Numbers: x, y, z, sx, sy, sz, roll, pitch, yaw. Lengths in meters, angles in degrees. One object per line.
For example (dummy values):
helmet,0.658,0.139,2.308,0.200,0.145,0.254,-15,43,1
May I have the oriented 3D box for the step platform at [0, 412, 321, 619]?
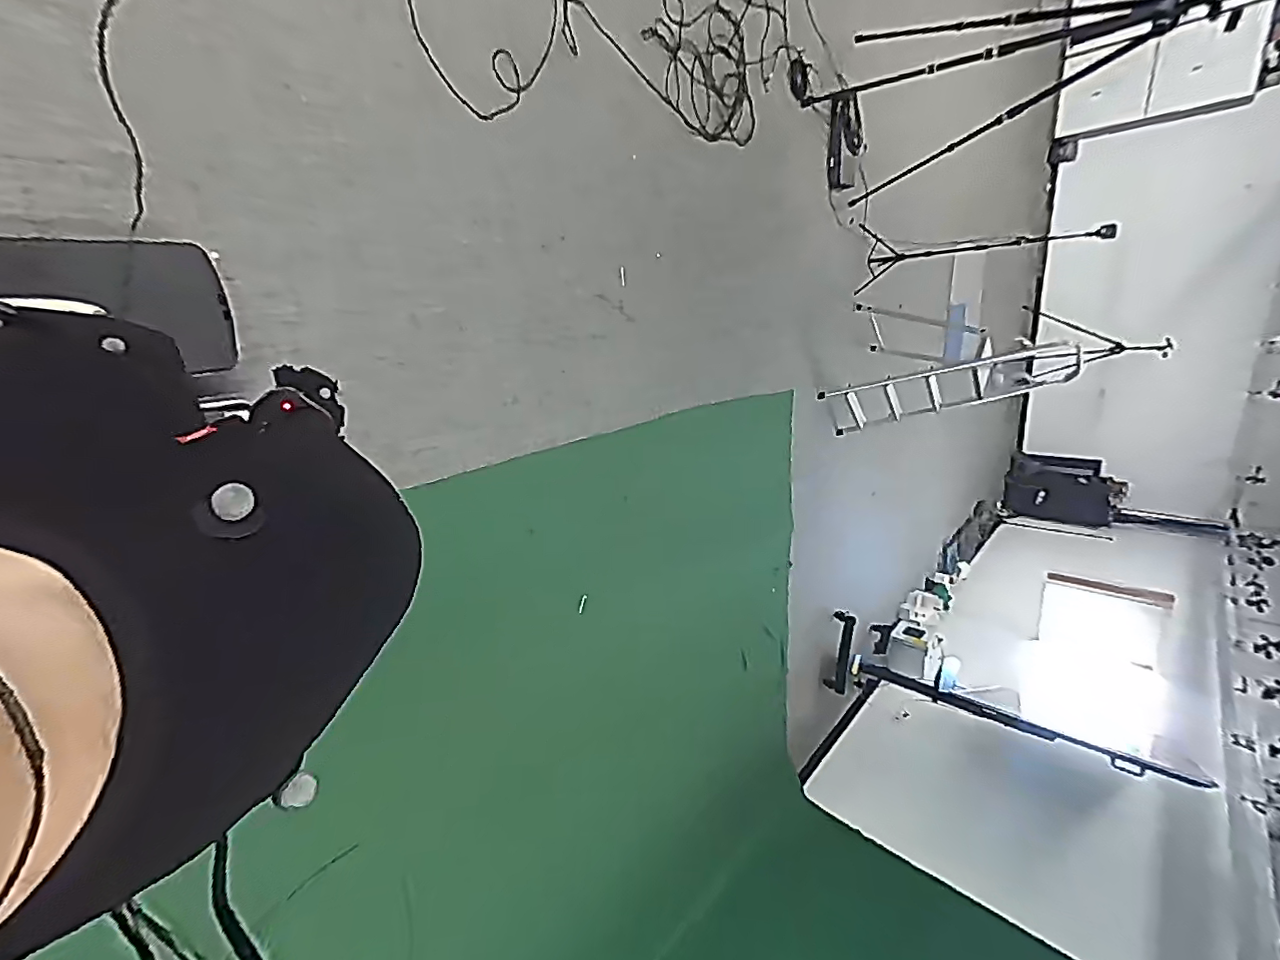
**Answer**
step platform,-0.974,0.074,0.947,0.684,0.204,0.286,-21,113,-44
